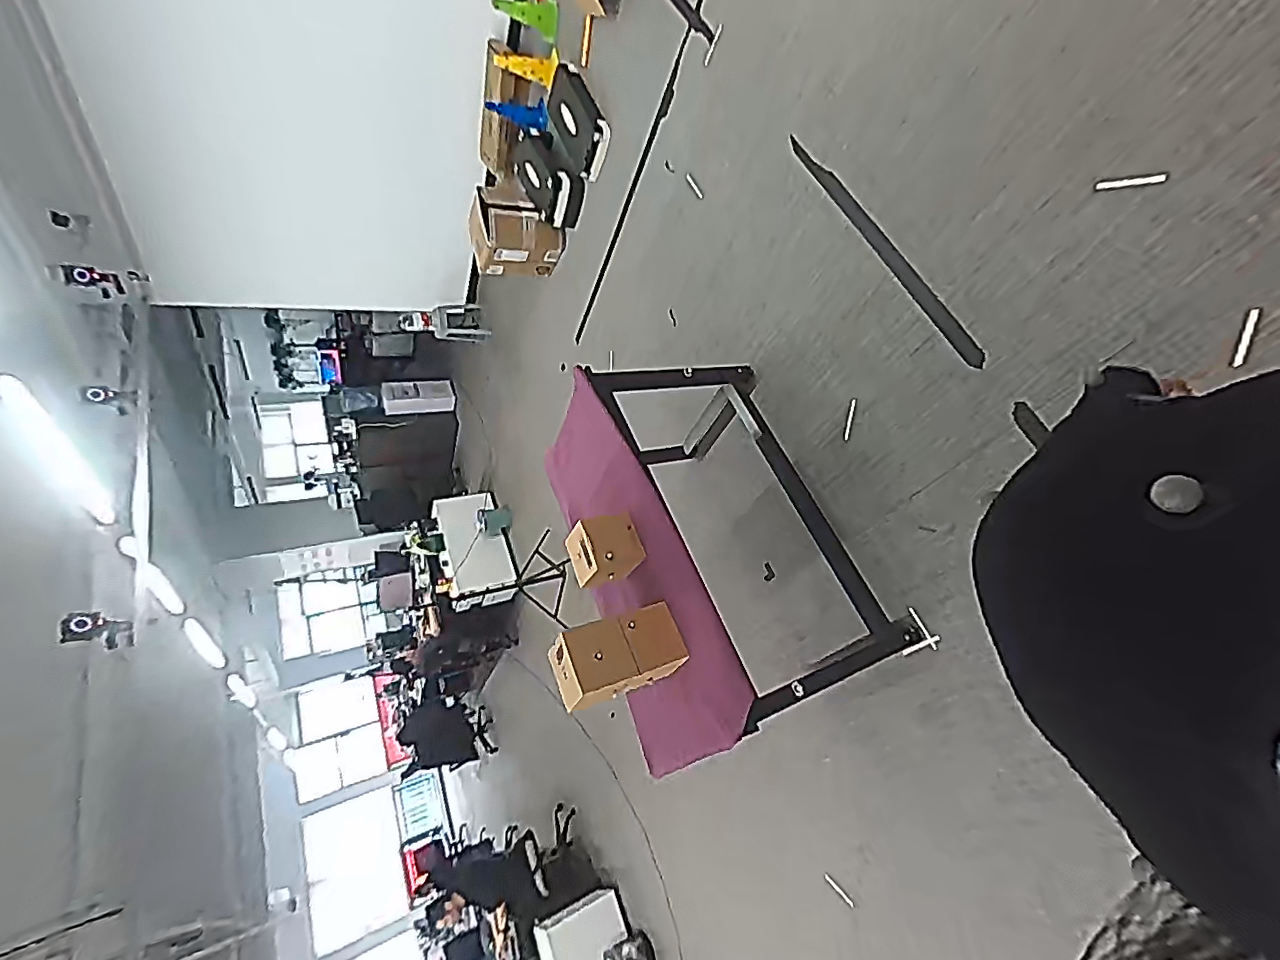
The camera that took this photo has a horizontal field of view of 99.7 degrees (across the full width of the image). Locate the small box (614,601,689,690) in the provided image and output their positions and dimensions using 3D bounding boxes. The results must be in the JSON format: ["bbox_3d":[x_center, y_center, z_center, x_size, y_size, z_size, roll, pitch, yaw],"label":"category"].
[{"bbox_3d":[0.015,0.472,1.554,0.179,0.176,0.168,64,146,27],"label":"small box"}]

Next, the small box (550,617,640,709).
[{"bbox_3d":[-0.125,0.490,1.469,0.179,0.176,0.168,64,146,27],"label":"small box"}]
